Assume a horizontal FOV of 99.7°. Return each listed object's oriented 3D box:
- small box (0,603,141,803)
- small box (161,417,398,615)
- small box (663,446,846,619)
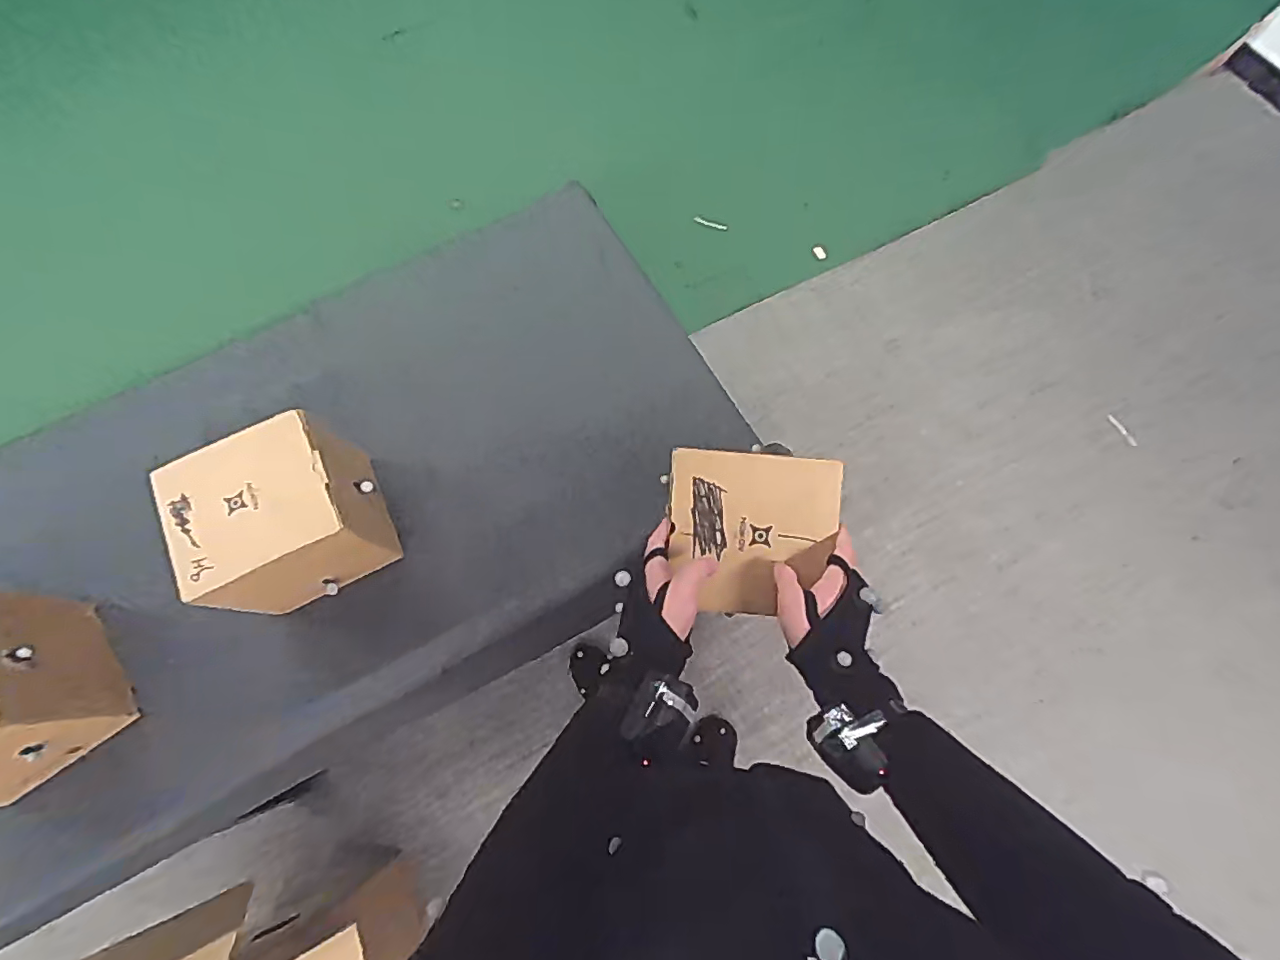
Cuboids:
[{"bbox_3d":[-0.734,0.255,0.613,0.168,0.176,0.179,-36,73,-13],"label":"small box"},{"bbox_3d":[-0.430,0.053,0.678,0.179,0.176,0.168,-26,73,-9],"label":"small box"},{"bbox_3d":[0.121,0.055,0.631,0.179,0.176,0.168,5,89,3],"label":"small box"}]
